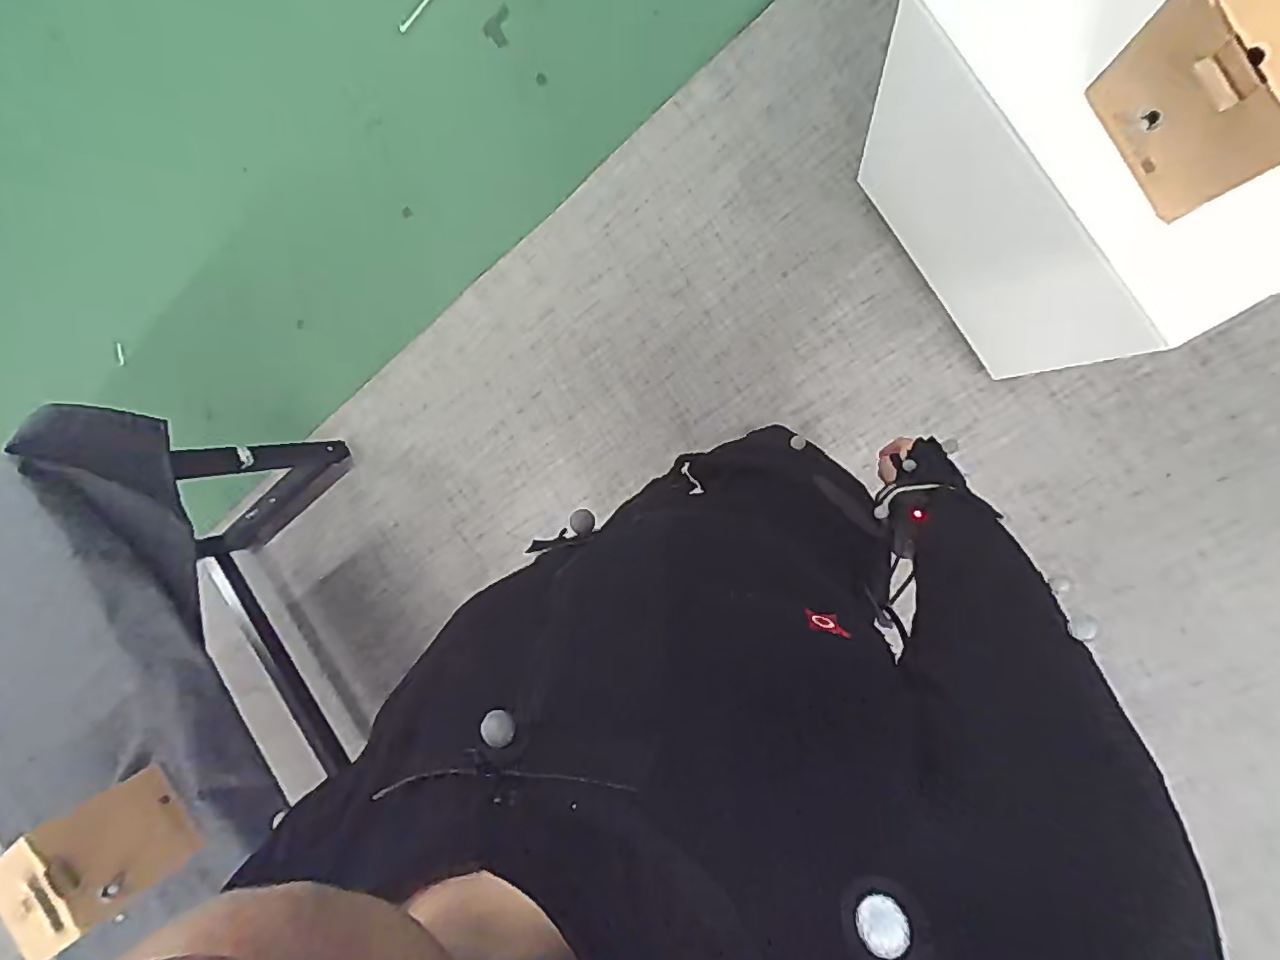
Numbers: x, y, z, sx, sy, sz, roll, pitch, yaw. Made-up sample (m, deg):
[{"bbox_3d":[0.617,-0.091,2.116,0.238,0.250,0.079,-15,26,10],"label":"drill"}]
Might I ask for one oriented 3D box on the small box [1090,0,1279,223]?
[{"bbox_3d":[0.563,-0.367,0.475,0.179,0.176,0.168,-30,88,17],"label":"small box"}]
